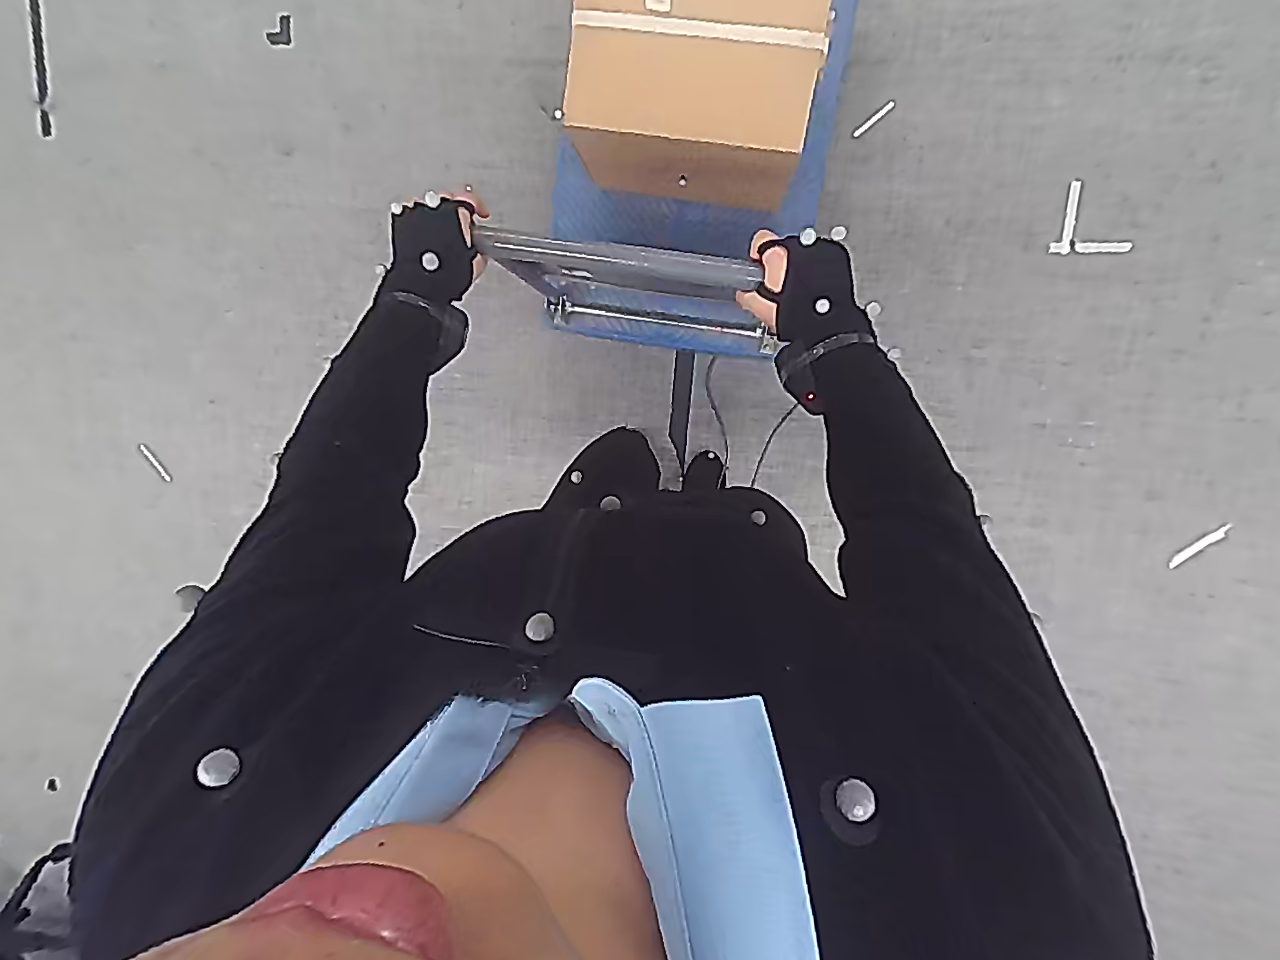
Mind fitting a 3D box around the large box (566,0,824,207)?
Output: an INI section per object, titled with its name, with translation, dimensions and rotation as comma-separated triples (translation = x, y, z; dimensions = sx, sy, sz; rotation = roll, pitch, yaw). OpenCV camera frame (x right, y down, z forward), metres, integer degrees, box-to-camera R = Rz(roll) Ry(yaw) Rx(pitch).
[large box]
translation = 0.108, -0.746, 1.031
dimensions = 0.408, 0.320, 0.320
rotation = 10, 100, 6
